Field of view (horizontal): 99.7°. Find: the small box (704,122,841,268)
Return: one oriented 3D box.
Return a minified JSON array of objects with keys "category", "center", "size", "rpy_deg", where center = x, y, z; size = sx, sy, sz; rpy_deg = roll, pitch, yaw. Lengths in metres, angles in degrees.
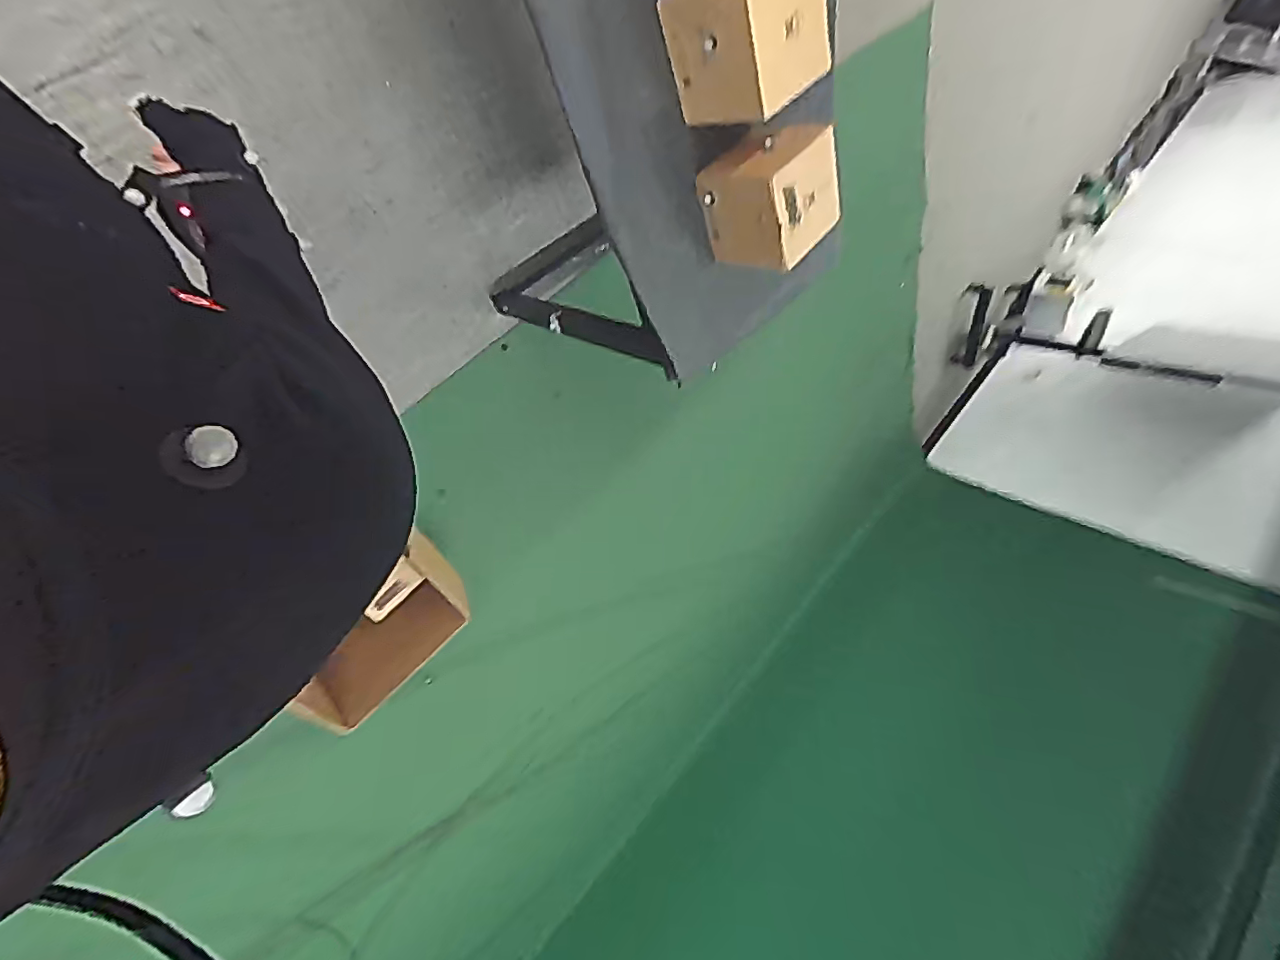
[{"category":"small box","center":[0.232,-0.508,0.970],"size":[0.179,0.176,0.168],"rpy_deg":[-47,138,-18]}]

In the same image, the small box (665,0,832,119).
[{"category":"small box","center":[0.158,-0.666,0.804],"size":[0.179,0.176,0.168],"rpy_deg":[-46,138,-17]}]
